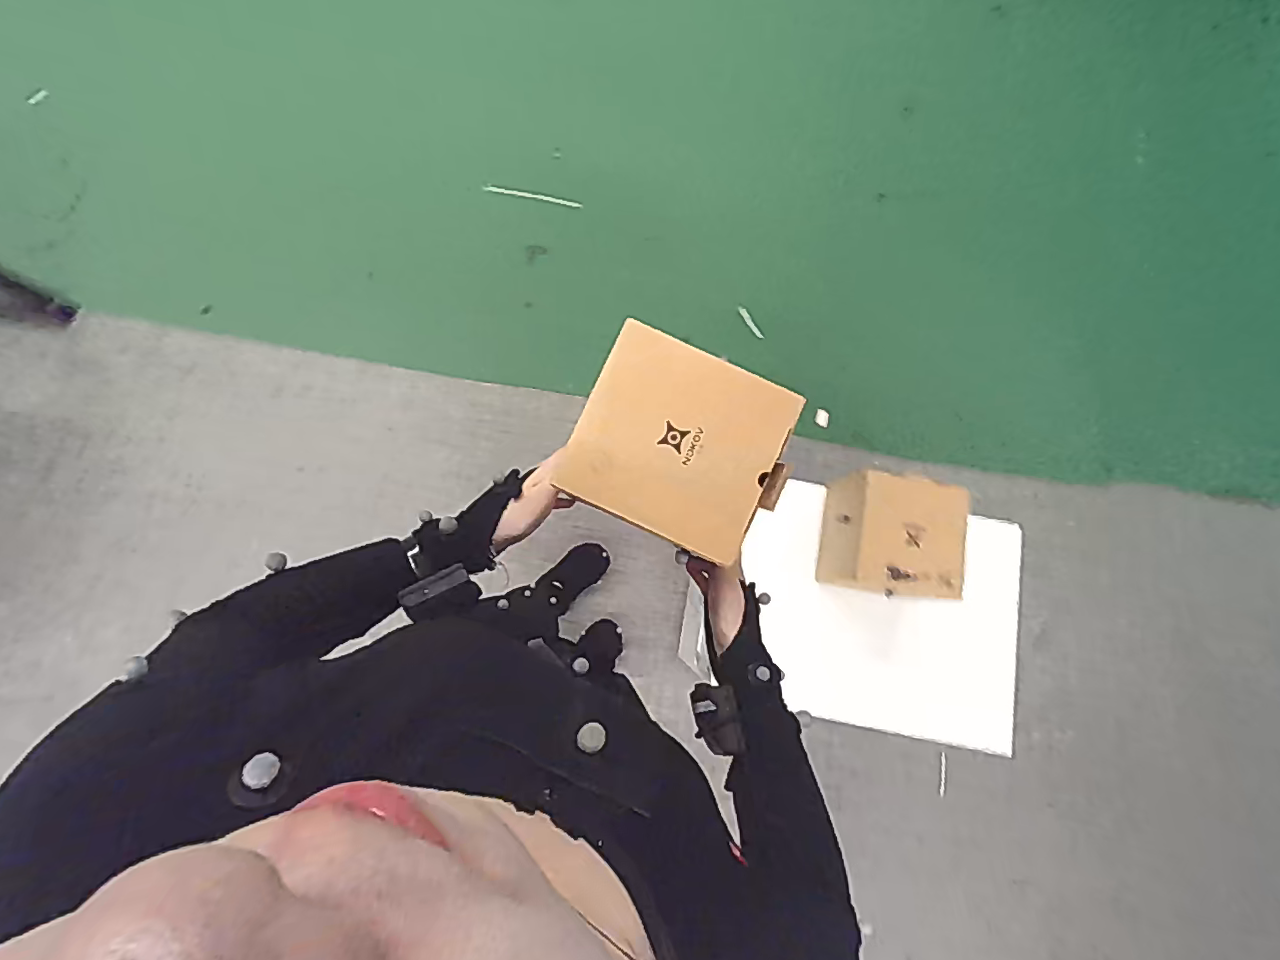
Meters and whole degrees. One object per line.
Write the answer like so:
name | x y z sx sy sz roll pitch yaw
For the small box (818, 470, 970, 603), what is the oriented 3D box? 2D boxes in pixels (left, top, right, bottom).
small box | 0.410 0.099 0.895 0.168 0.176 0.179 11 79 -1

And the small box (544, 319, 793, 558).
small box | 0.024 -0.030 0.553 0.179 0.176 0.168 24 85 1
